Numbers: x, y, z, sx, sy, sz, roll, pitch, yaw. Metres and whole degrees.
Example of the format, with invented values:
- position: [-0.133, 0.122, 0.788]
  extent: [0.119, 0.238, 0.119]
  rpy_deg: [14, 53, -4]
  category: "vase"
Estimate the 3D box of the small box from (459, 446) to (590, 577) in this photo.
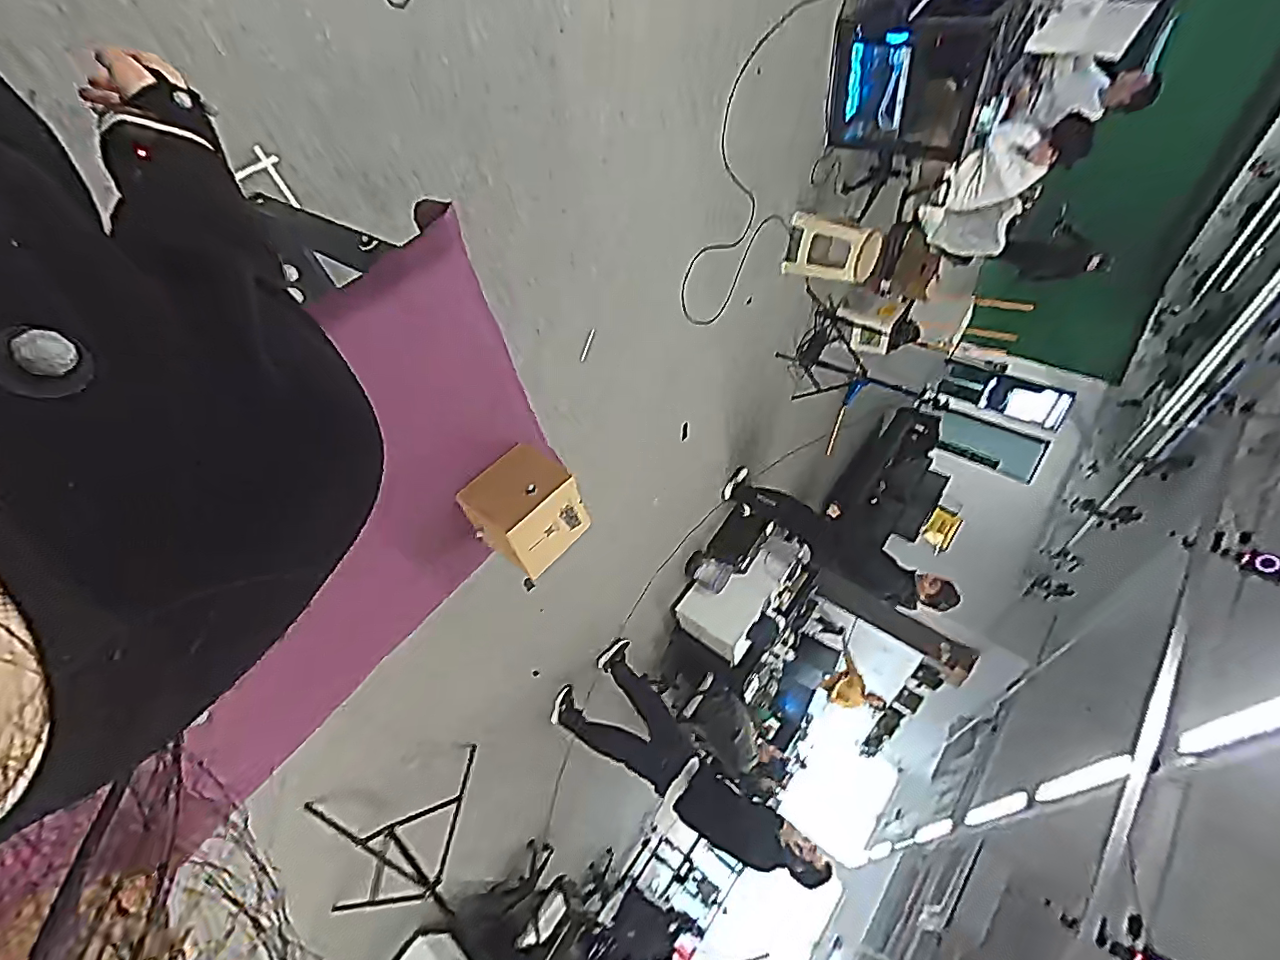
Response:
- position: [-0.235, 0.058, 1.116]
  extent: [0.179, 0.176, 0.168]
  rpy_deg: [-44, 145, -25]
  category: "small box"

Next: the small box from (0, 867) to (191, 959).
- position: [-0.807, 0.691, 0.763]
  extent: [0.179, 0.176, 0.168]
  rpy_deg: [-46, 147, -24]
  category: "small box"
